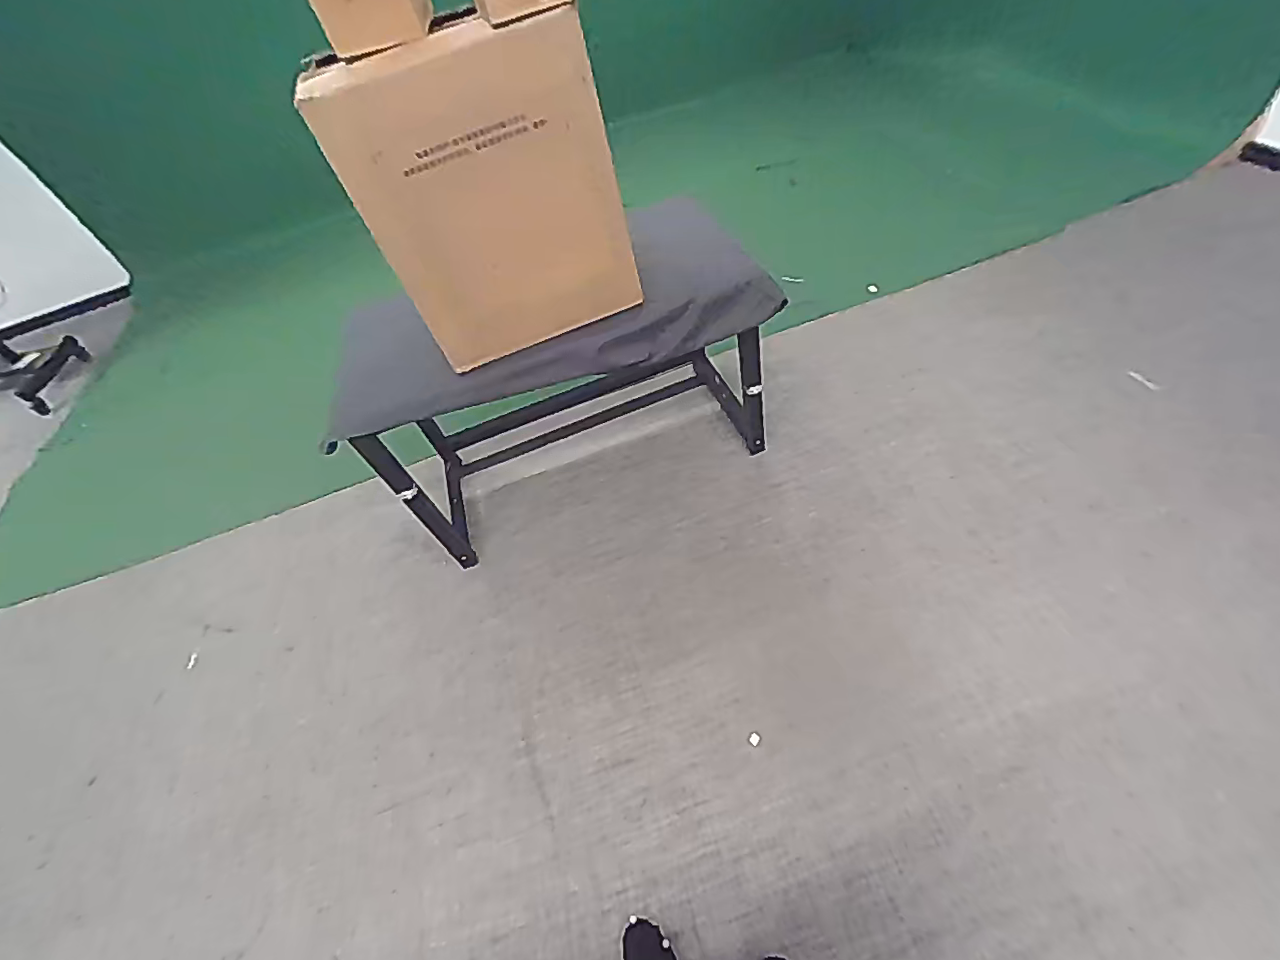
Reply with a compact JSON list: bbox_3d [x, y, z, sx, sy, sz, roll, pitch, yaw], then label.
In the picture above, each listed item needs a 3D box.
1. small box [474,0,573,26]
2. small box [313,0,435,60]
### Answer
[{"bbox_3d":[-0.233,-0.947,0.969,0.168,0.176,0.179,-22,50,-4],"label":"small box"},{"bbox_3d":[-0.510,-0.922,1.006,0.179,0.176,0.168,-11,58,5],"label":"small box"}]
